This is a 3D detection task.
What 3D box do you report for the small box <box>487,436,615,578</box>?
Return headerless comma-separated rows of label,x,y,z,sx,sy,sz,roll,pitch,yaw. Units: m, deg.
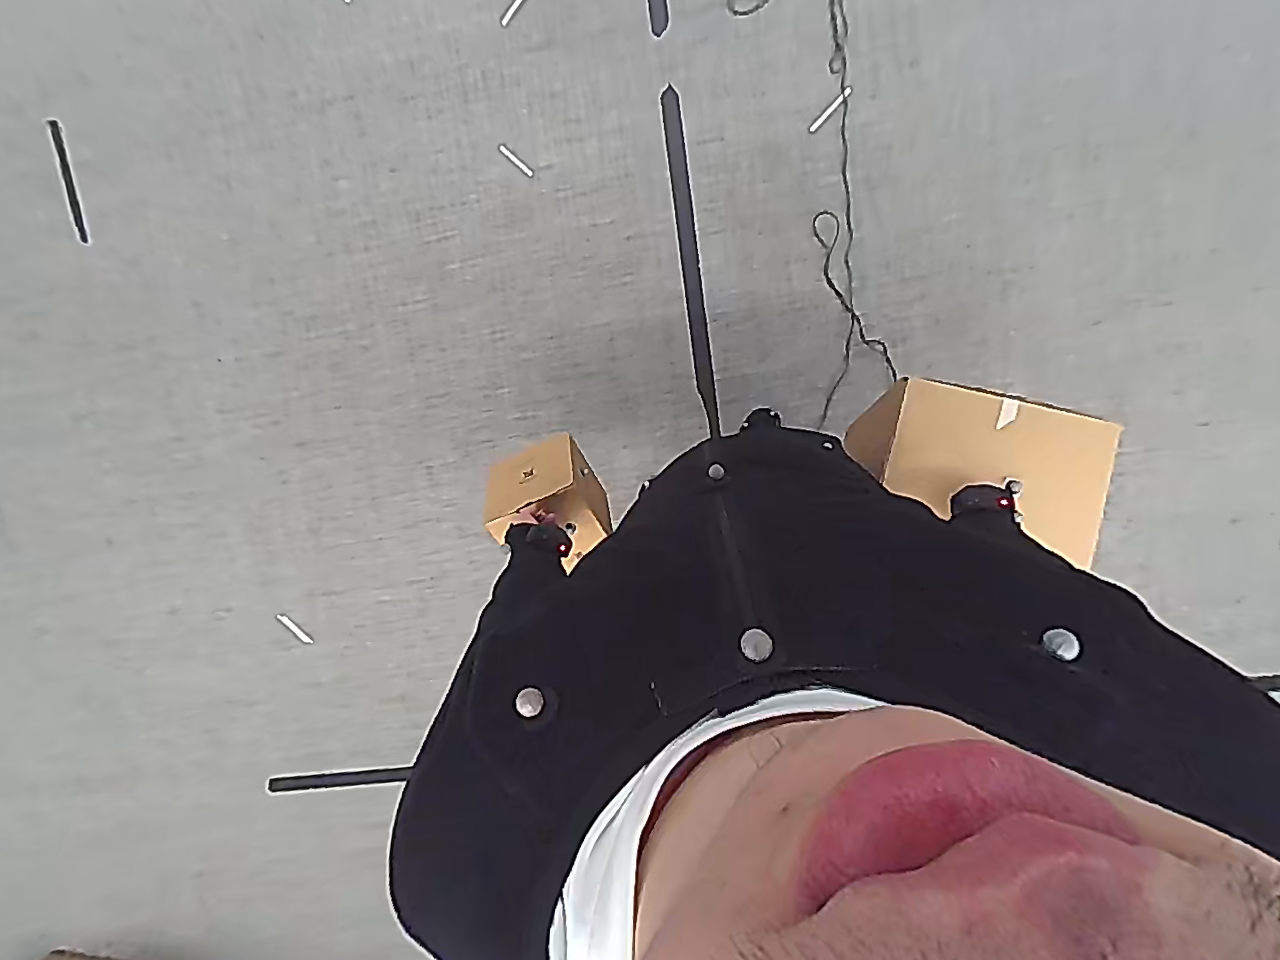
small box,-0.156,0.055,0.985,0.168,0.179,0.176,-24,124,6
